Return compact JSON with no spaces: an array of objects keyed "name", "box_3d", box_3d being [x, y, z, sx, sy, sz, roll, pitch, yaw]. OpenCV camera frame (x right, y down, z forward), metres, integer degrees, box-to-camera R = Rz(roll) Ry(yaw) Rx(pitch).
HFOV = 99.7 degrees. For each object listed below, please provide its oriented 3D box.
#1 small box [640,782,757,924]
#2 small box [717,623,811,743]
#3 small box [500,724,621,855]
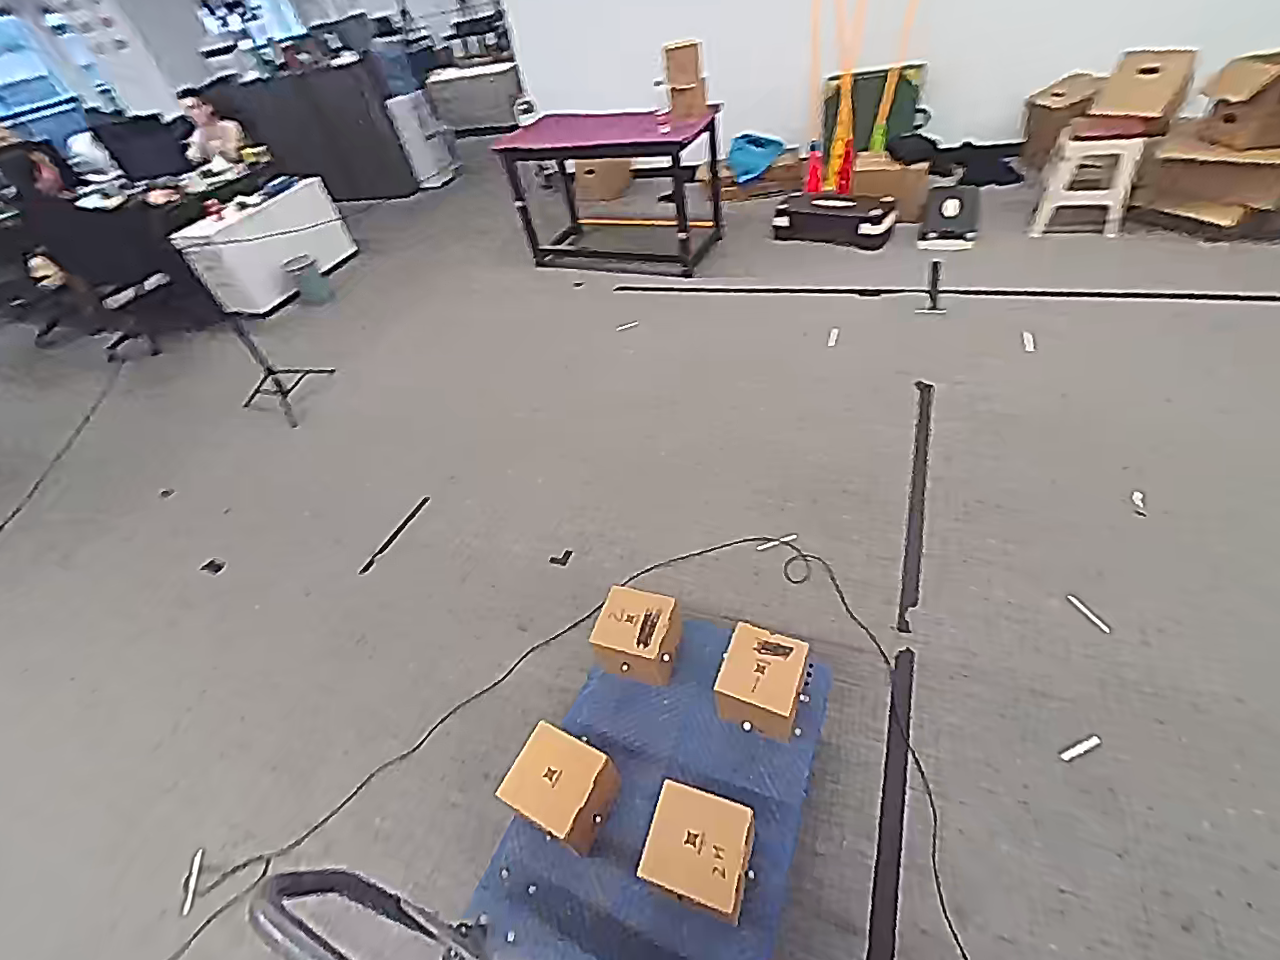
[{"name":"small box","box_3d":[0.120,0.712,1.031,0.179,0.176,0.168,8,49,21]},{"name":"small box","box_3d":[0.284,0.465,1.238,0.168,0.176,0.179,12,51,24]},{"name":"small box","box_3d":[-0.161,0.660,1.151,0.179,0.176,0.168,16,51,24]}]
